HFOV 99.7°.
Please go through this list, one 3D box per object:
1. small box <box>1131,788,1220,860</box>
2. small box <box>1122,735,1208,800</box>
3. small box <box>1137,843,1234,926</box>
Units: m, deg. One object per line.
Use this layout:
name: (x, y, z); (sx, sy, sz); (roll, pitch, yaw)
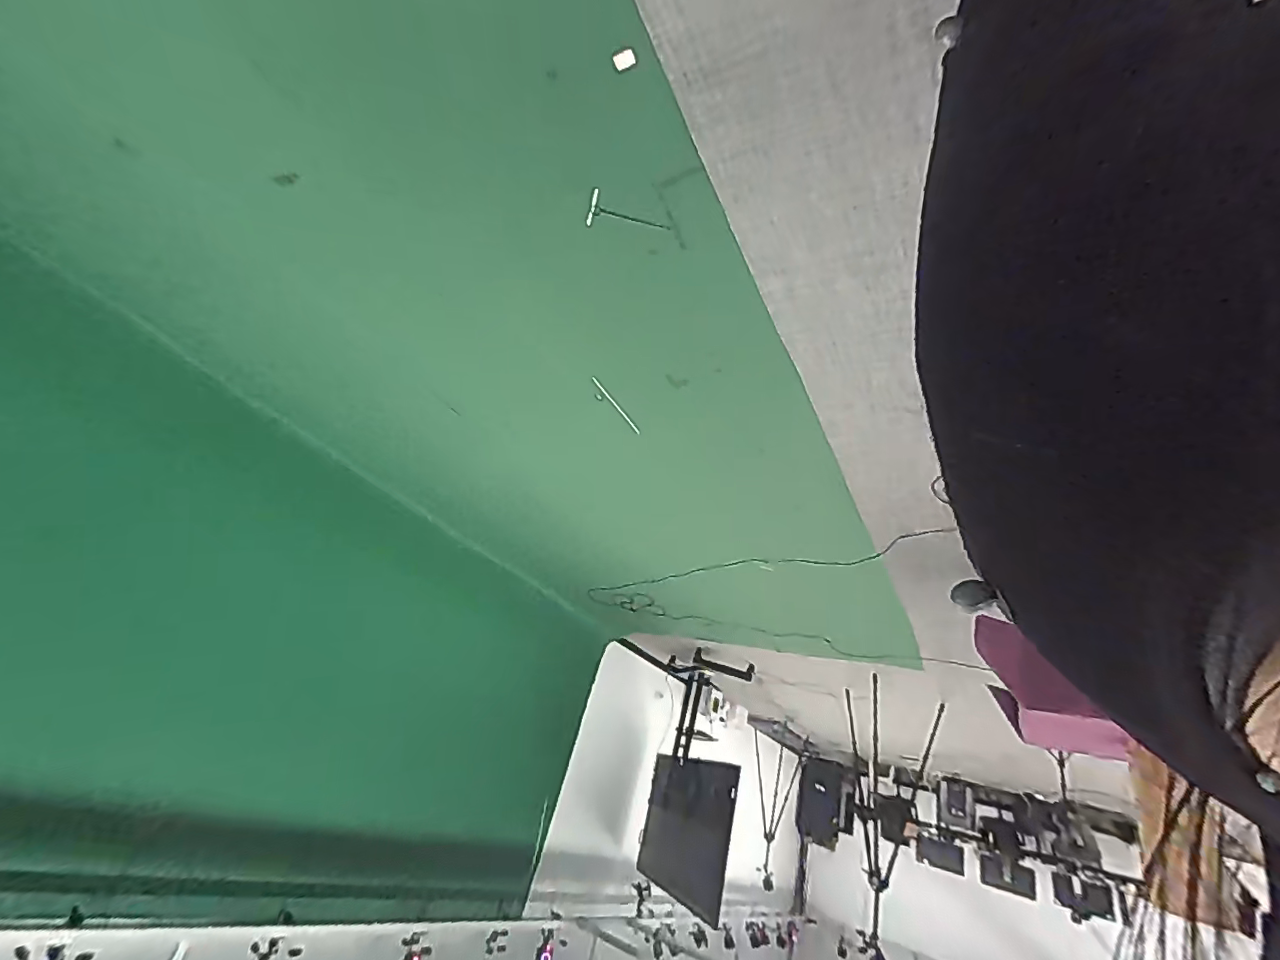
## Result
small box: (1.749, 1.129, 1.779); (0.179, 0.176, 0.168); (-4, 145, 34)
small box: (1.793, 0.990, 1.855); (0.179, 0.176, 0.168); (-2, 146, 34)
small box: (1.707, 1.269, 1.703); (0.179, 0.176, 0.168); (-5, 143, 35)
